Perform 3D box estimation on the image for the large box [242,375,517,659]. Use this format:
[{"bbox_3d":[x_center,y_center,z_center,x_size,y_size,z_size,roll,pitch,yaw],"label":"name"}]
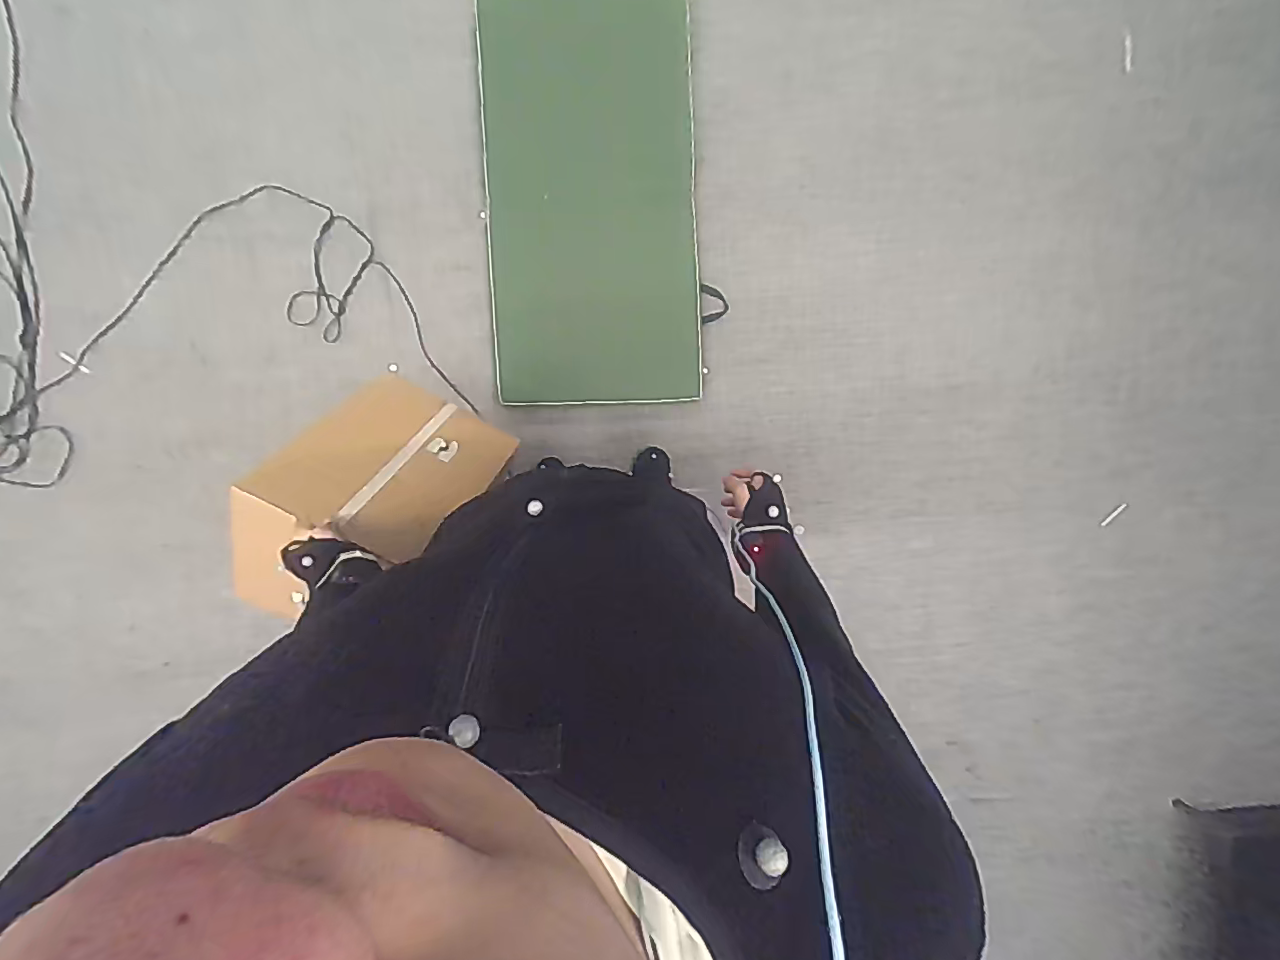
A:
[{"bbox_3d":[-0.498,0.066,1.078,0.320,0.408,0.320,29,128,-7],"label":"large box"}]
